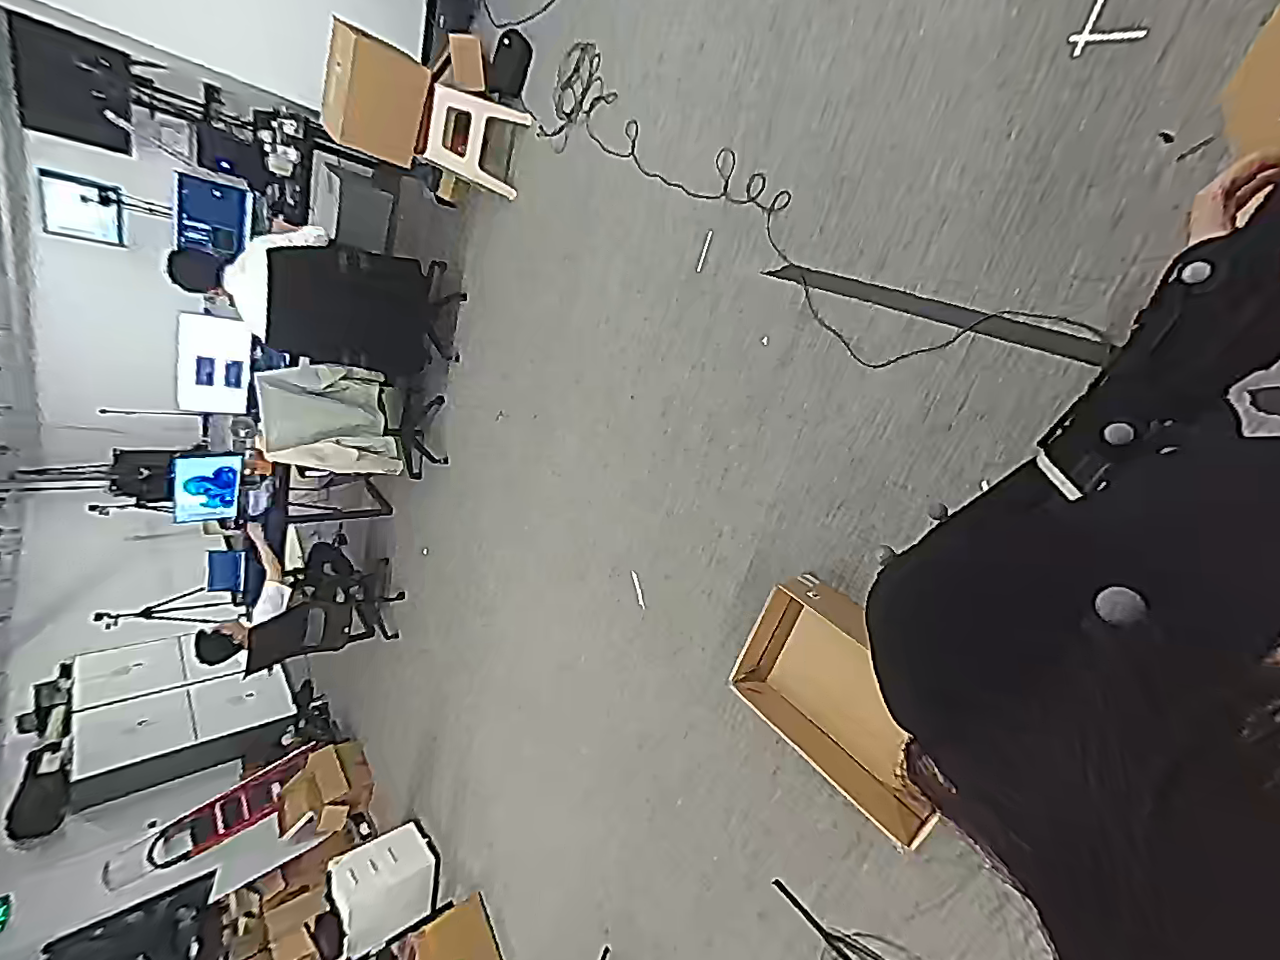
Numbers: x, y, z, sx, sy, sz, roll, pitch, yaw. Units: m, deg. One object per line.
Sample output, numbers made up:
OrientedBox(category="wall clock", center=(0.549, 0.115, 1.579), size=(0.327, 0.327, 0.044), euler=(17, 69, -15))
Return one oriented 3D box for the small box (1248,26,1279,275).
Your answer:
OrientedBox(category="small box", center=(0.478, -0.226, 0.289), size=(0.168, 0.176, 0.179), euler=(-7, 89, 35))
